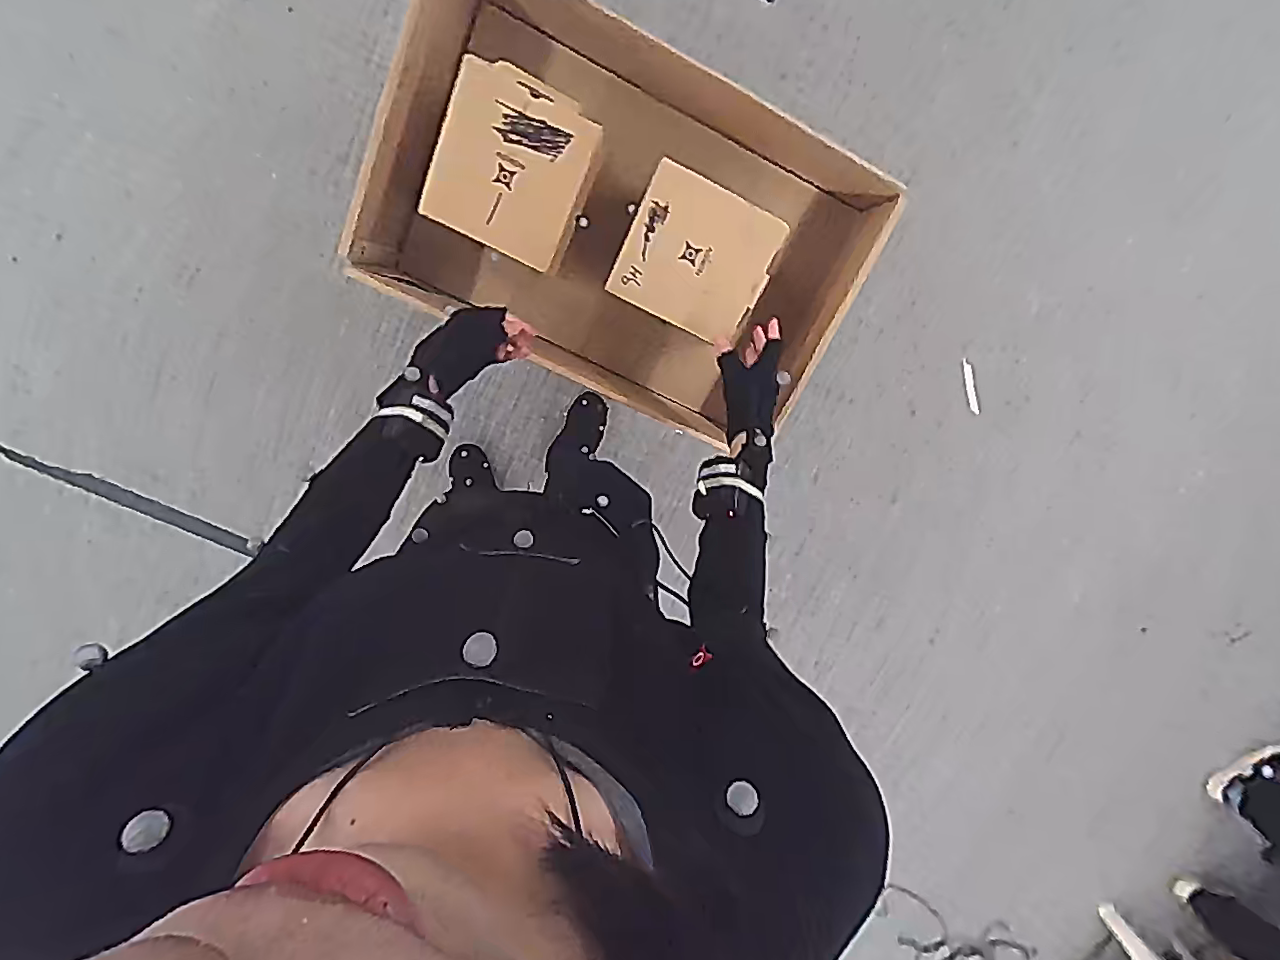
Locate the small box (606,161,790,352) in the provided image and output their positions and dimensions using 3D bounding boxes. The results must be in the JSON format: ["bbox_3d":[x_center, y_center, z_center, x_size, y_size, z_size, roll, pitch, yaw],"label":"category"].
[{"bbox_3d":[0.069,-0.293,0.737,0.179,0.176,0.168,25,105,-8],"label":"small box"}]

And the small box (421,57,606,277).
[{"bbox_3d":[-0.152,-0.383,0.701,0.168,0.176,0.179,24,107,-9],"label":"small box"}]
